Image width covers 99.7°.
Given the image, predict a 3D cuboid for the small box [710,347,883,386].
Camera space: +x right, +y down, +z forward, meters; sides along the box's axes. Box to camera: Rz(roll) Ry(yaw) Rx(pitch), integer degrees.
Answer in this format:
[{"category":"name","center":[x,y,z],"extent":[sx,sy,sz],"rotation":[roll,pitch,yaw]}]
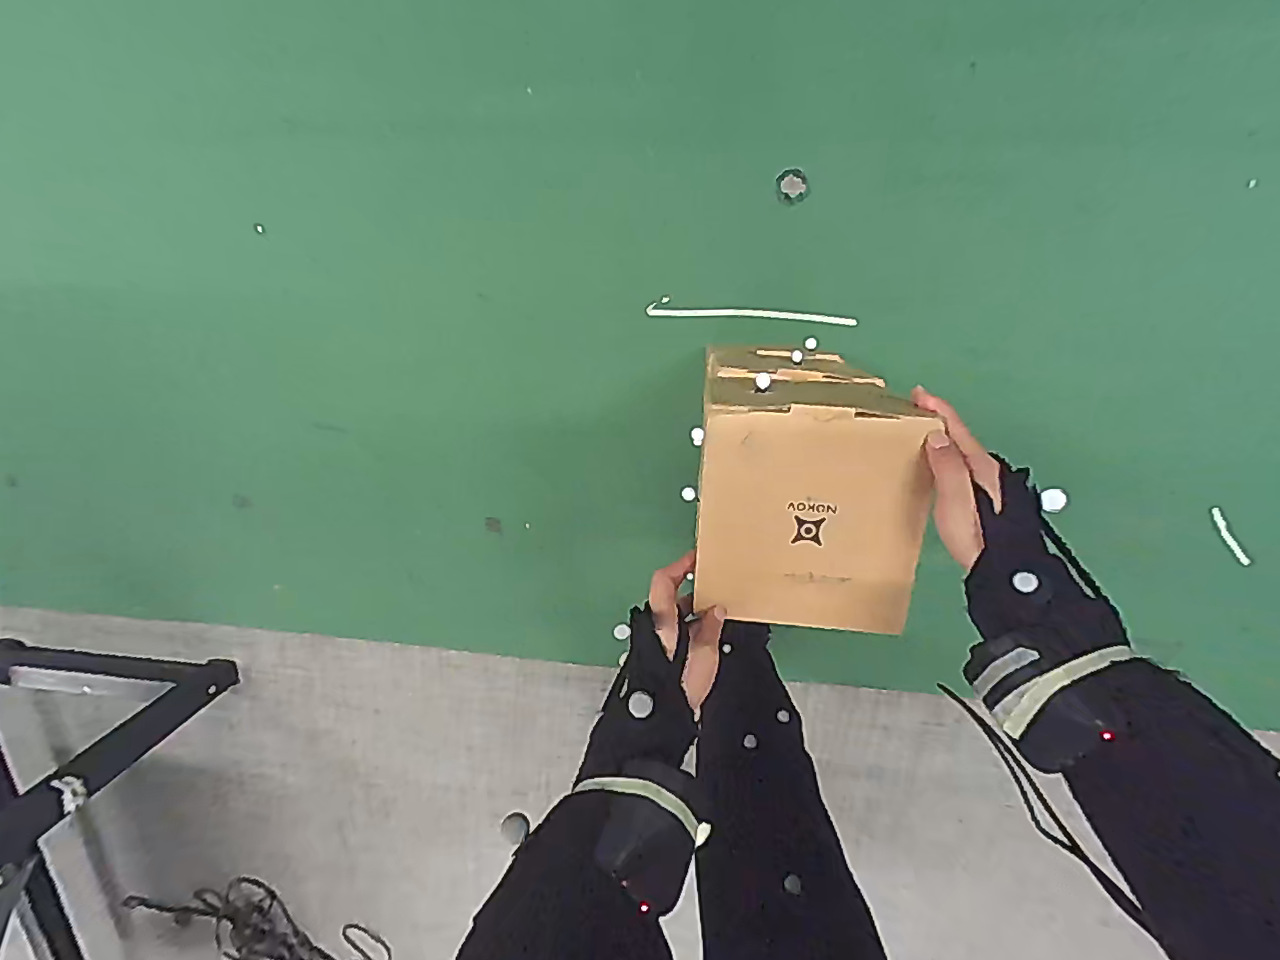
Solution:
[{"category":"small box","center":[0.158,-0.053,0.626],"extent":[0.168,0.176,0.179],"rotation":[5,108,5]}]

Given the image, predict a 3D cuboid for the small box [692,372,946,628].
[{"category":"small box","center":[0.134,0.003,0.474],"extent":[0.168,0.176,0.179],"rotation":[4,109,7]}]
